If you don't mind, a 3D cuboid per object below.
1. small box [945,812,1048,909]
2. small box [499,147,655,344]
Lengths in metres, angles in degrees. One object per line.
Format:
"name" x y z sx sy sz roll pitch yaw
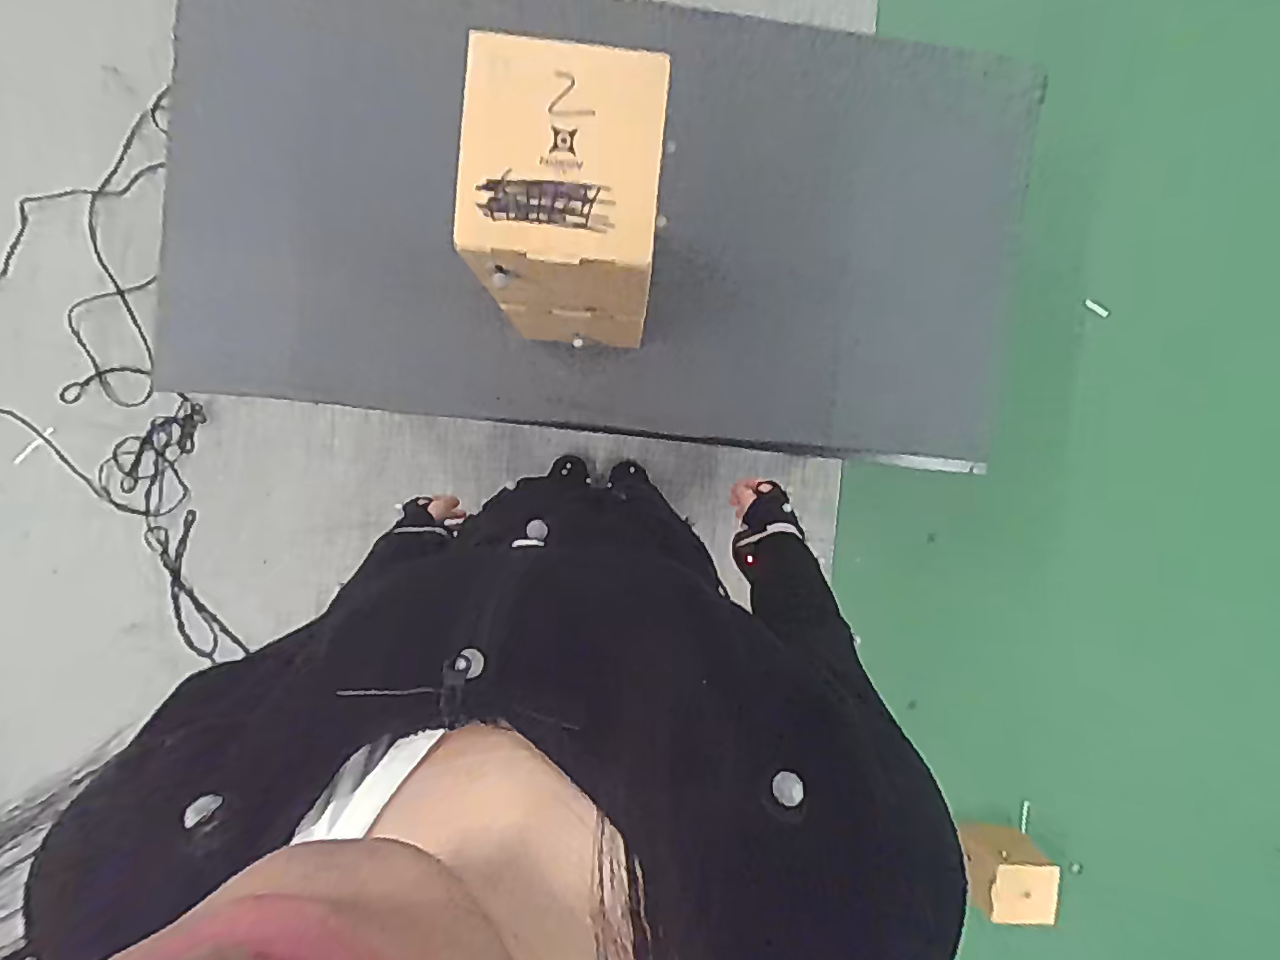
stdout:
"small box" 1.023 1.090 1.560 0.179 0.176 0.168 3 94 -2
"small box" -0.075 -0.284 0.691 0.168 0.176 0.179 4 93 -2
